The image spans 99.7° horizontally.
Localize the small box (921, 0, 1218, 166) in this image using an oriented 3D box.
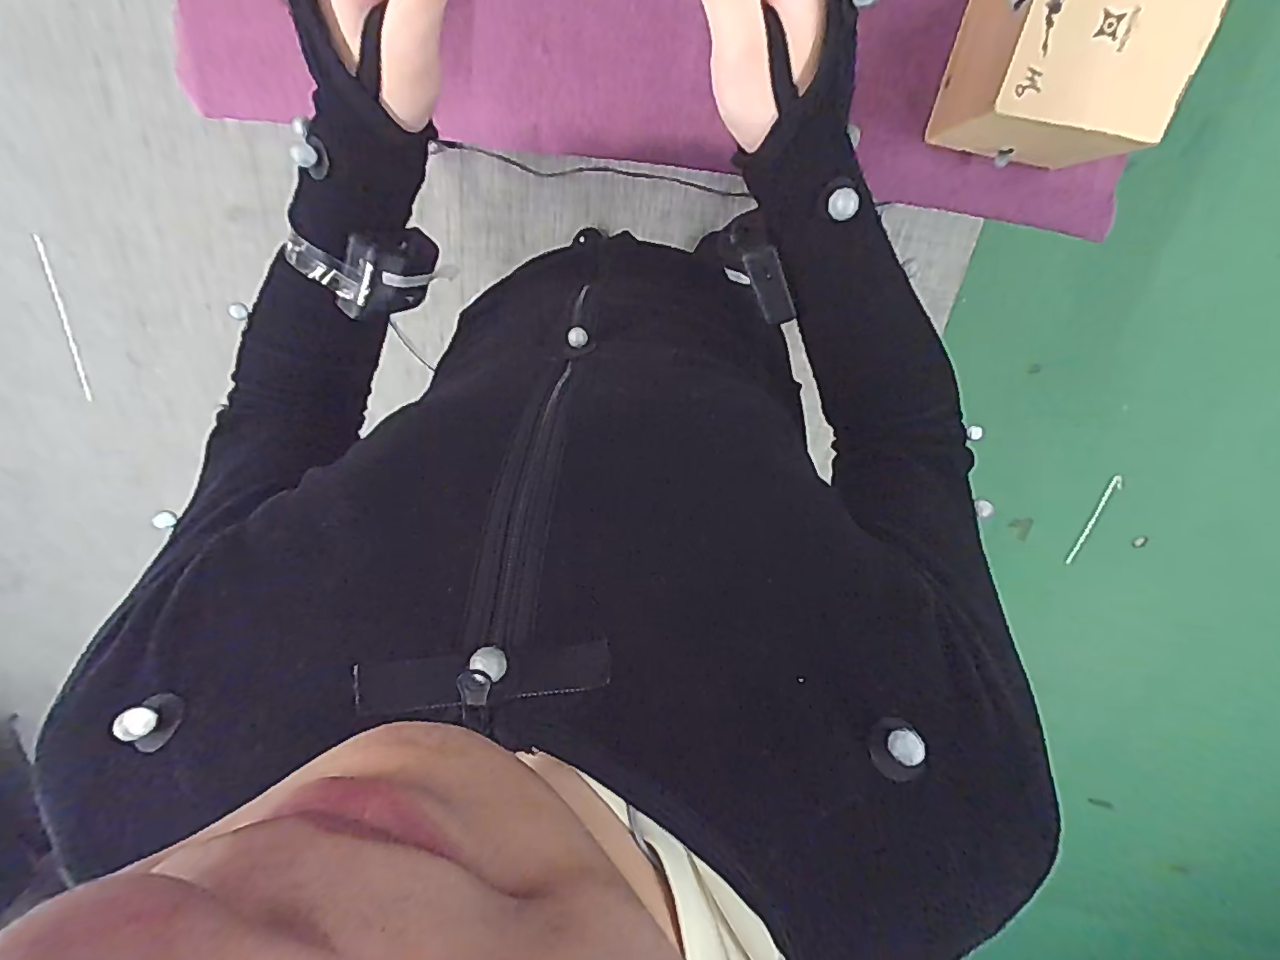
[{"bbox_3d":[0.451,-0.458,0.592,0.179,0.176,0.168,11,113,-2],"label":"small box"}]
